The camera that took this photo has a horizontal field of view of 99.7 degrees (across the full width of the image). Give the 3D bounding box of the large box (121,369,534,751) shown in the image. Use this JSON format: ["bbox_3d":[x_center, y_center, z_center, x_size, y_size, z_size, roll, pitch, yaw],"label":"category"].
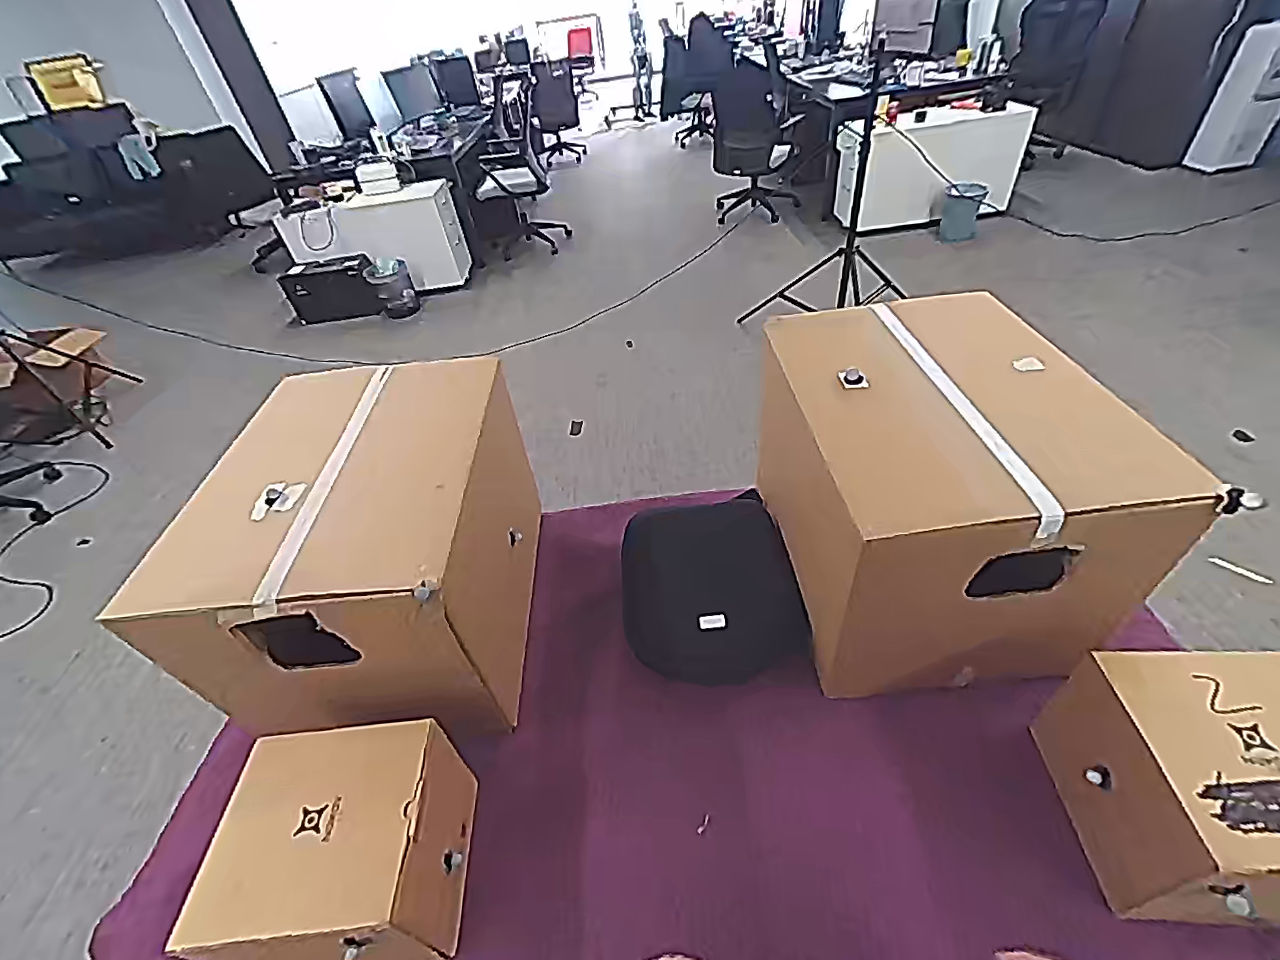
[{"bbox_3d":[-0.333,0.098,0.740,0.320,0.320,0.408,-6,45,1],"label":"large box"}]
